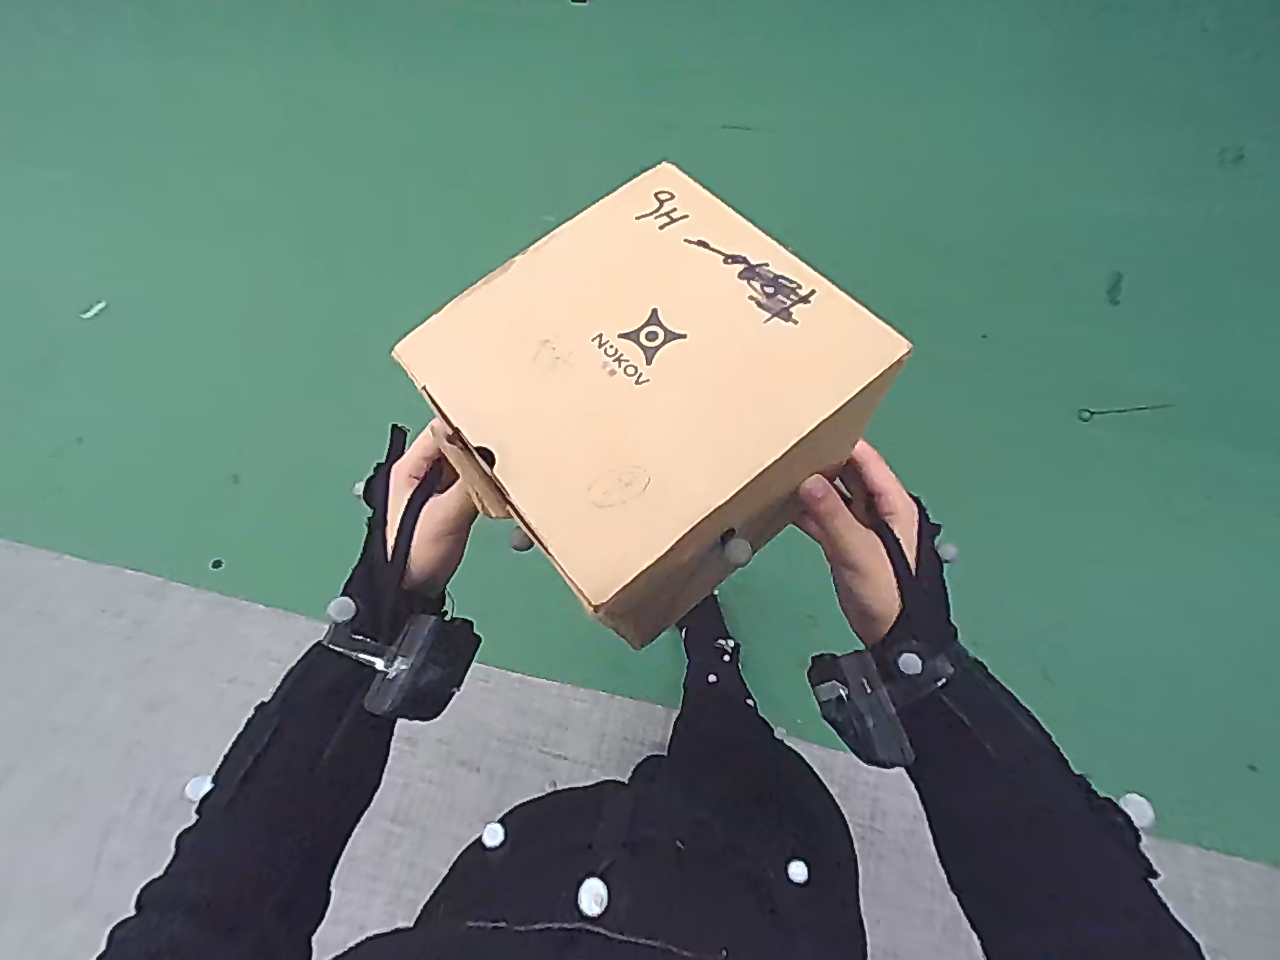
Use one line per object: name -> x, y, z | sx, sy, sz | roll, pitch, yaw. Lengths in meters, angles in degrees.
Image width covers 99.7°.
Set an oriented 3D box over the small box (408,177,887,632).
small box -> 0.007, -0.029, 0.329 | 0.179, 0.176, 0.168 | -39, 69, -9
